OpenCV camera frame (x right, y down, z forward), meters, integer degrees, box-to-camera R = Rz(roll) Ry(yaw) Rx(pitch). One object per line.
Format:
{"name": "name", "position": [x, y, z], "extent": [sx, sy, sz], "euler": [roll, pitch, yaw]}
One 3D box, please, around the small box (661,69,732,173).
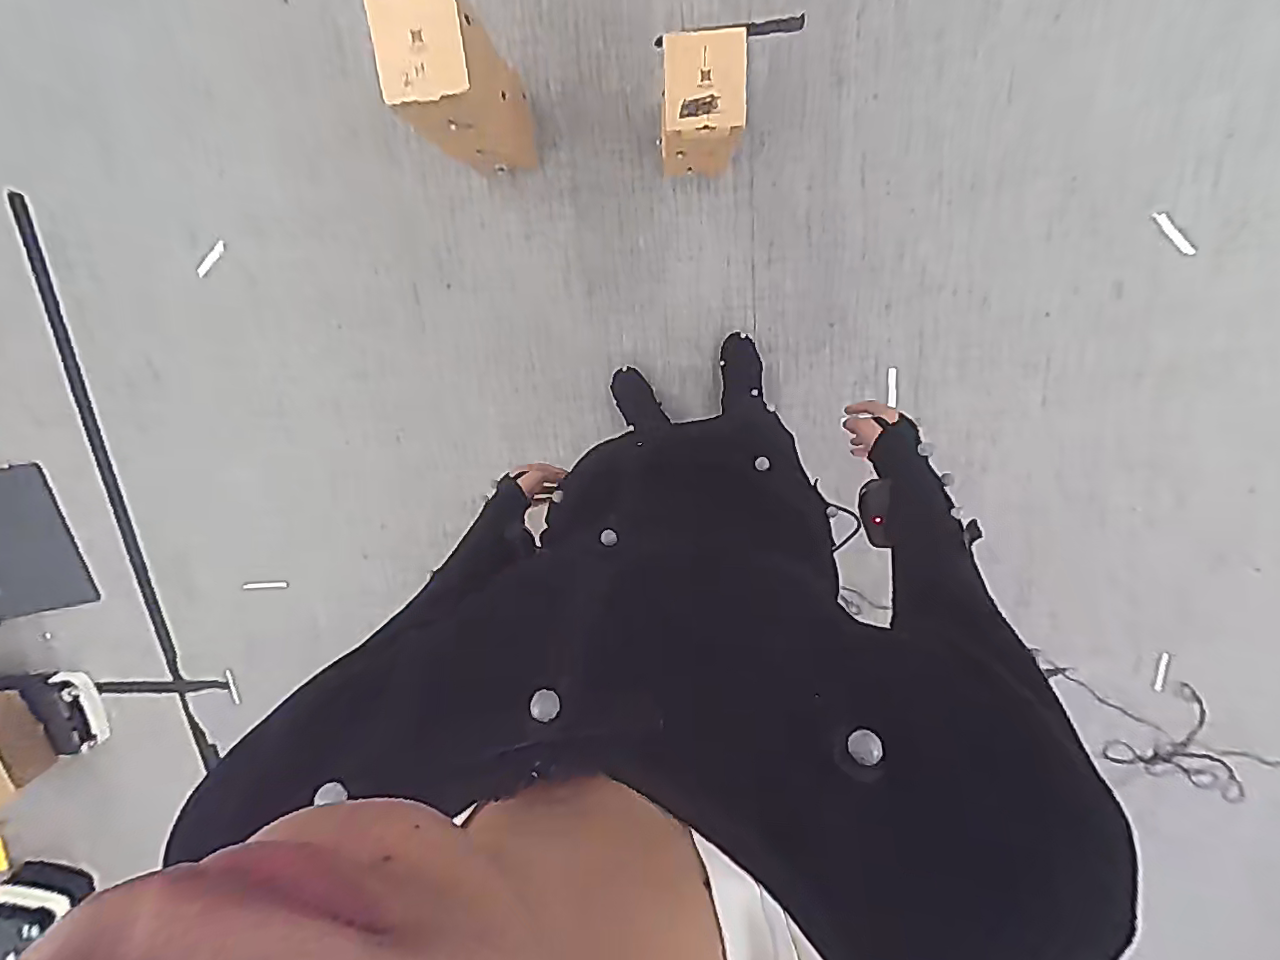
{"name": "small box", "position": [0.133, -0.869, 1.314], "extent": [0.168, 0.176, 0.179], "euler": [-1, 106, 3]}

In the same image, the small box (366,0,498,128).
{"name": "small box", "position": [-0.383, -0.799, 1.020], "extent": [0.168, 0.176, 0.179], "euler": [-4, 106, 6]}

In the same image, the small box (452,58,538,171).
{"name": "small box", "position": [-0.360, -0.892, 1.334], "extent": [0.168, 0.176, 0.179], "euler": [-5, 105, 5]}

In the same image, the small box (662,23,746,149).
{"name": "small box", "position": [0.132, -0.827, 1.156], "extent": [0.168, 0.176, 0.179], "euler": [-2, 105, 3]}
